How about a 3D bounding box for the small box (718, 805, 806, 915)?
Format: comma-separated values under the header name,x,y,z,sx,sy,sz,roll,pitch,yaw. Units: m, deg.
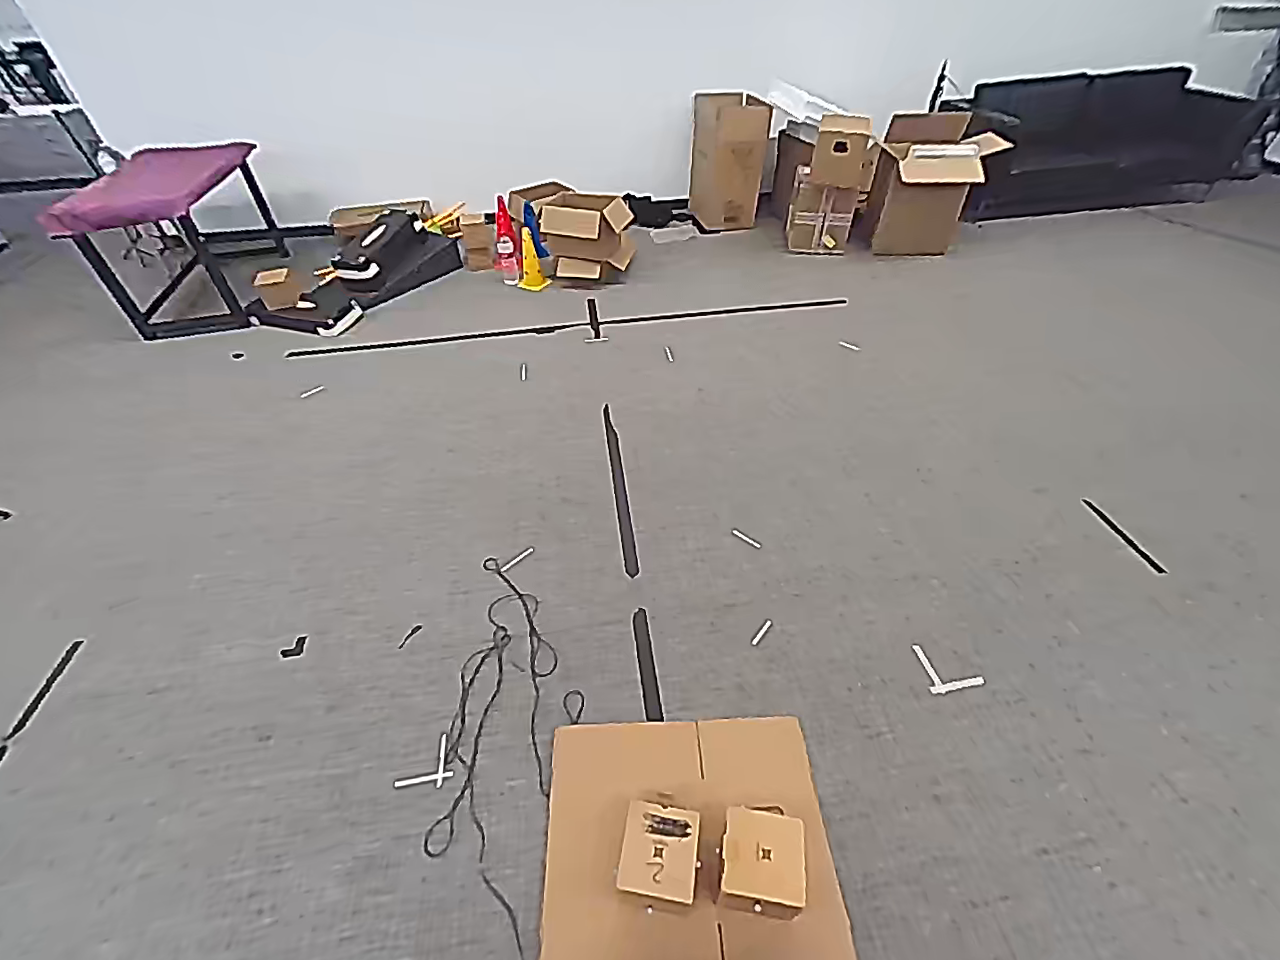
name,x,y,z,sx,sy,sz,roll,pitch,yaw
small box,0.278,0.882,1.251,0.179,0.176,0.168,5,44,9
